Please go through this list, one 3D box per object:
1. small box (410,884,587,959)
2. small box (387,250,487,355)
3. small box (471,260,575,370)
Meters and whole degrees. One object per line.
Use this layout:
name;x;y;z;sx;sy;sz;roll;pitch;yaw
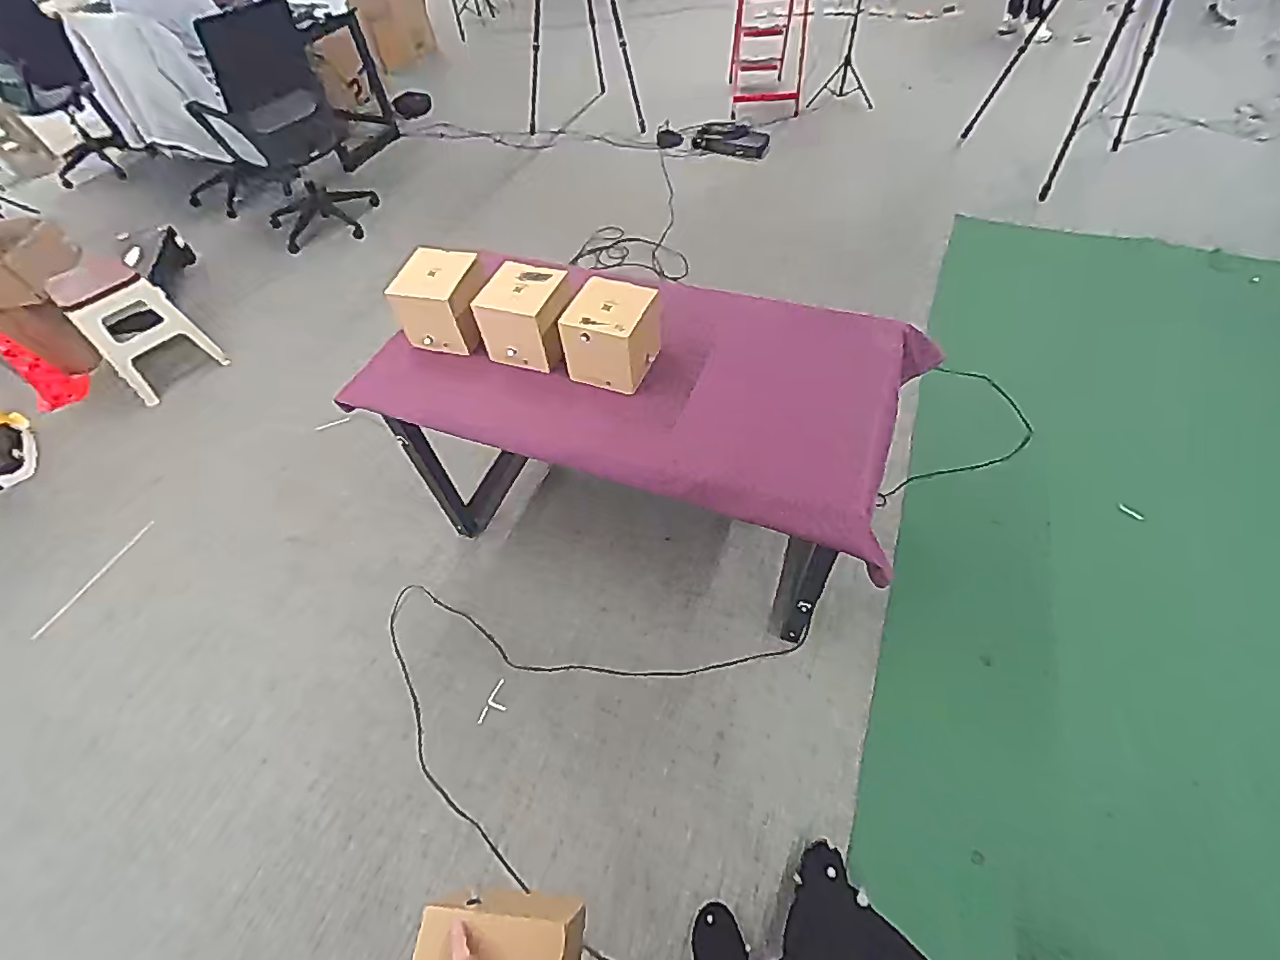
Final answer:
small box;-0.174;0.616;0.667;0.179;0.176;0.168;2;60;6
small box;-0.482;-0.441;1.344;0.168;0.176;0.179;10;57;13
small box;-0.266;-0.392;1.288;0.168;0.176;0.179;14;58;15
